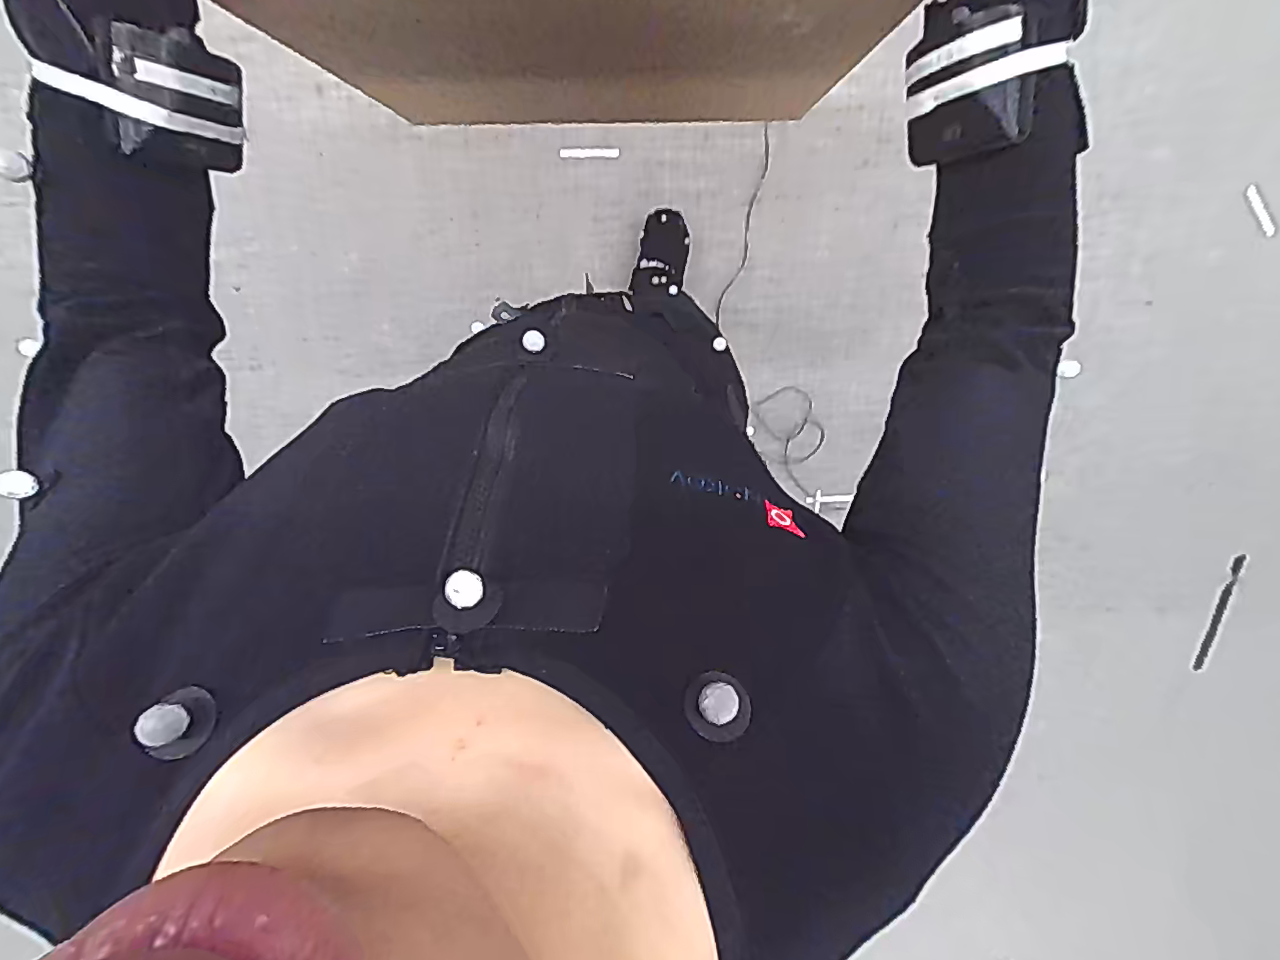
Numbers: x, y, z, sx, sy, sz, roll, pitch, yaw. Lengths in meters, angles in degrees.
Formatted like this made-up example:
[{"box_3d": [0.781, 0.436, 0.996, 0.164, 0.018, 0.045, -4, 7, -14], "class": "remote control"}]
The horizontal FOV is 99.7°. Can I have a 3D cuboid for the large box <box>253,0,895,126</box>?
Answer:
[{"box_3d": [-0.037, -0.466, 0.369, 0.408, 0.320, 0.320, -1, 112, 1], "class": "large box"}]
